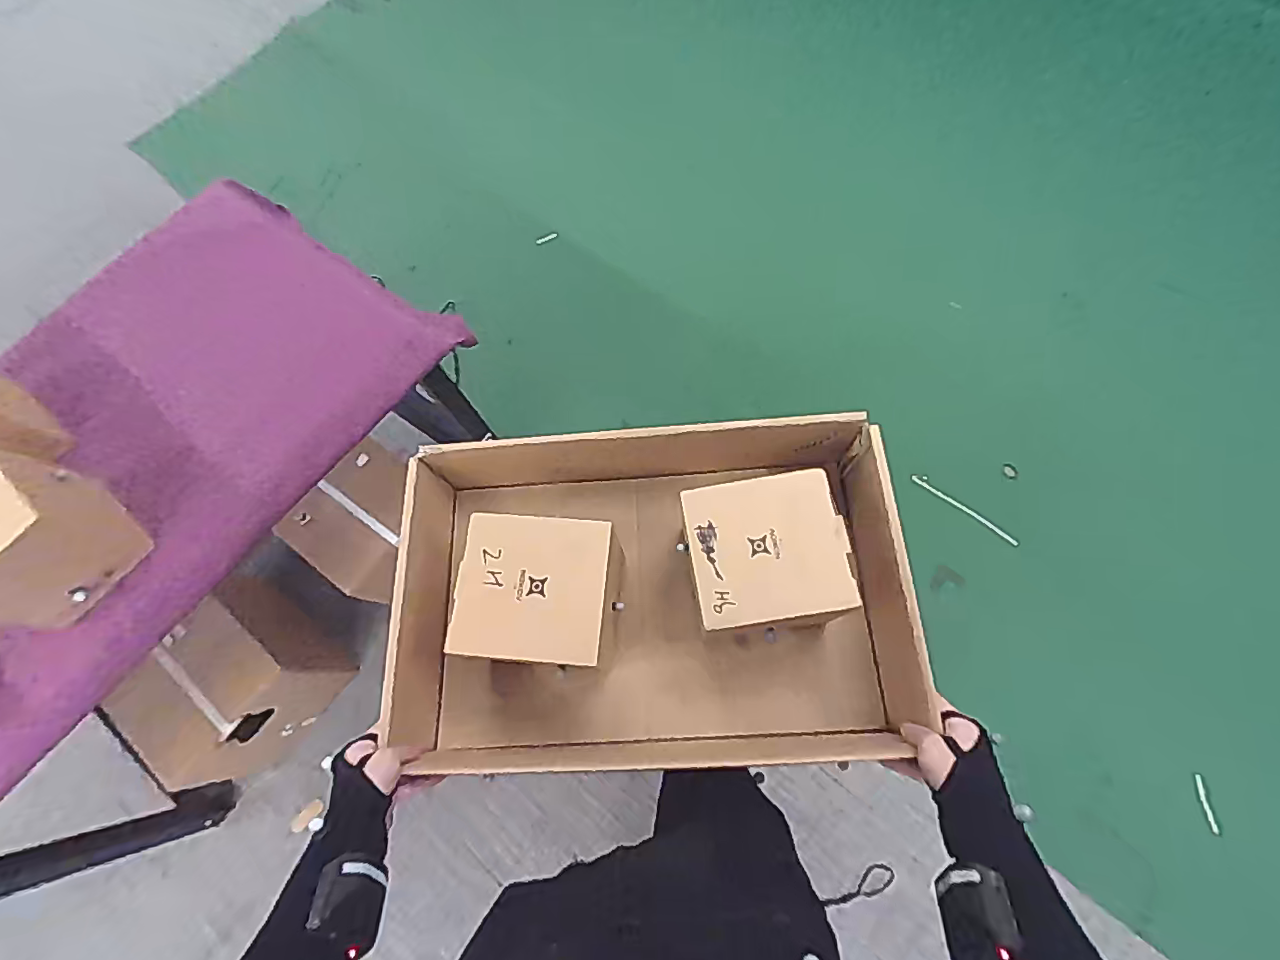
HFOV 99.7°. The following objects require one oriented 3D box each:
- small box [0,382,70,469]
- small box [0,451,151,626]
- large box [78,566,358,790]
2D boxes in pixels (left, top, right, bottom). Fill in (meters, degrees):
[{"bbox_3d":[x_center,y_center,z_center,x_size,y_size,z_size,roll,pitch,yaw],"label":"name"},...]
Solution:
[{"bbox_3d":[-1.075,-0.075,0.840,0.179,0.176,0.168,38,77,15],"label":"small box"},{"bbox_3d":[-0.868,0.090,0.763,0.179,0.176,0.168,37,78,16],"label":"small box"},{"bbox_3d":[-1.013,0.475,1.342,0.408,0.320,0.320,35,76,16],"label":"large box"}]
